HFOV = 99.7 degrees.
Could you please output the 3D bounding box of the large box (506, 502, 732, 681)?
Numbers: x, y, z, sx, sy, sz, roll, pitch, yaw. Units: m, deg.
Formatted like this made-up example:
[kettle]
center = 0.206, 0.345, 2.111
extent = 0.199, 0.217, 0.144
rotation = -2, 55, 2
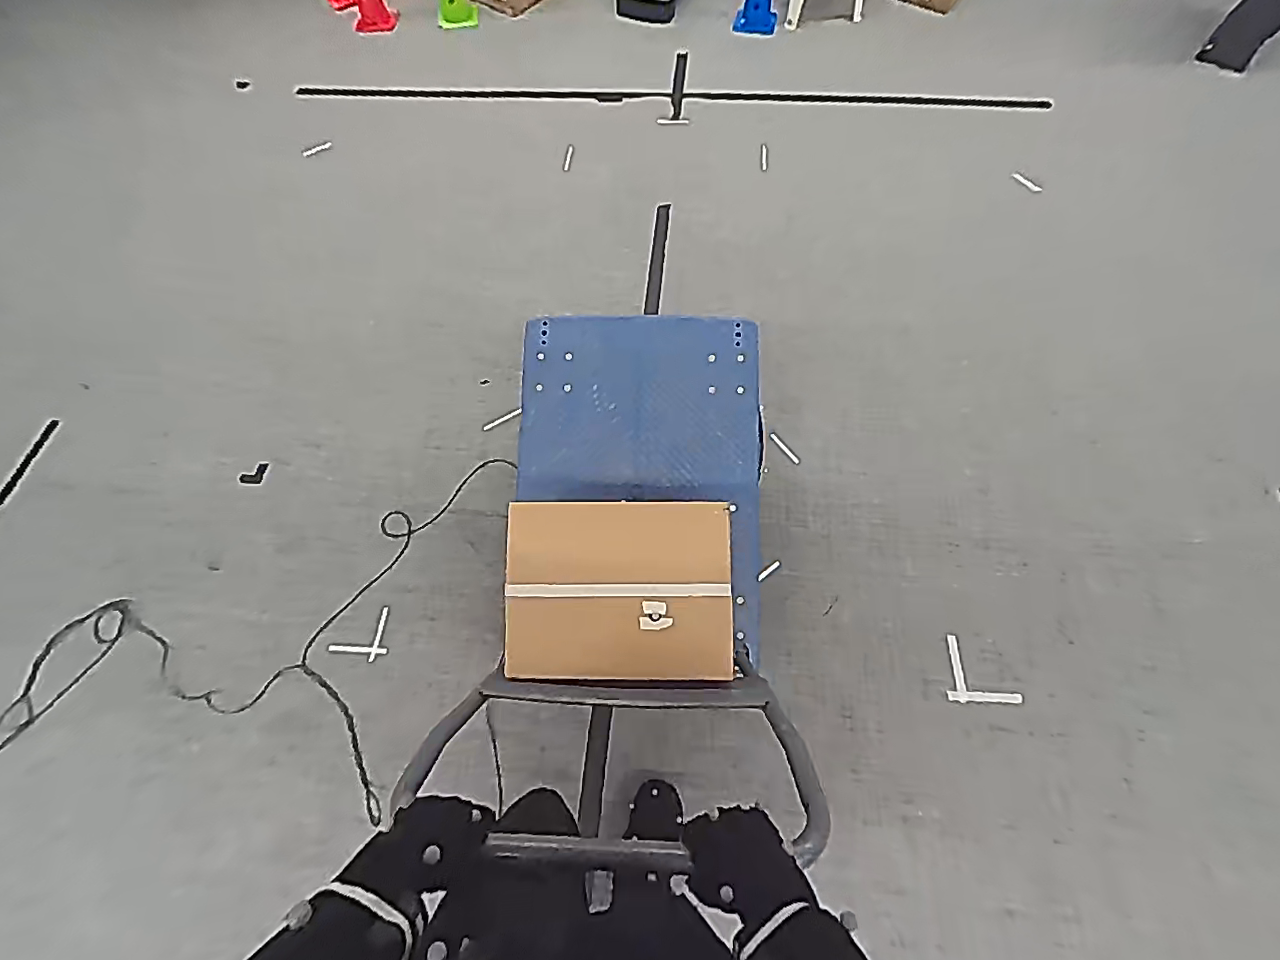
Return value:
[large box]
center = -0.039, 0.215, 1.109
extent = 0.408, 0.320, 0.320
rotation = 0, 84, 1
